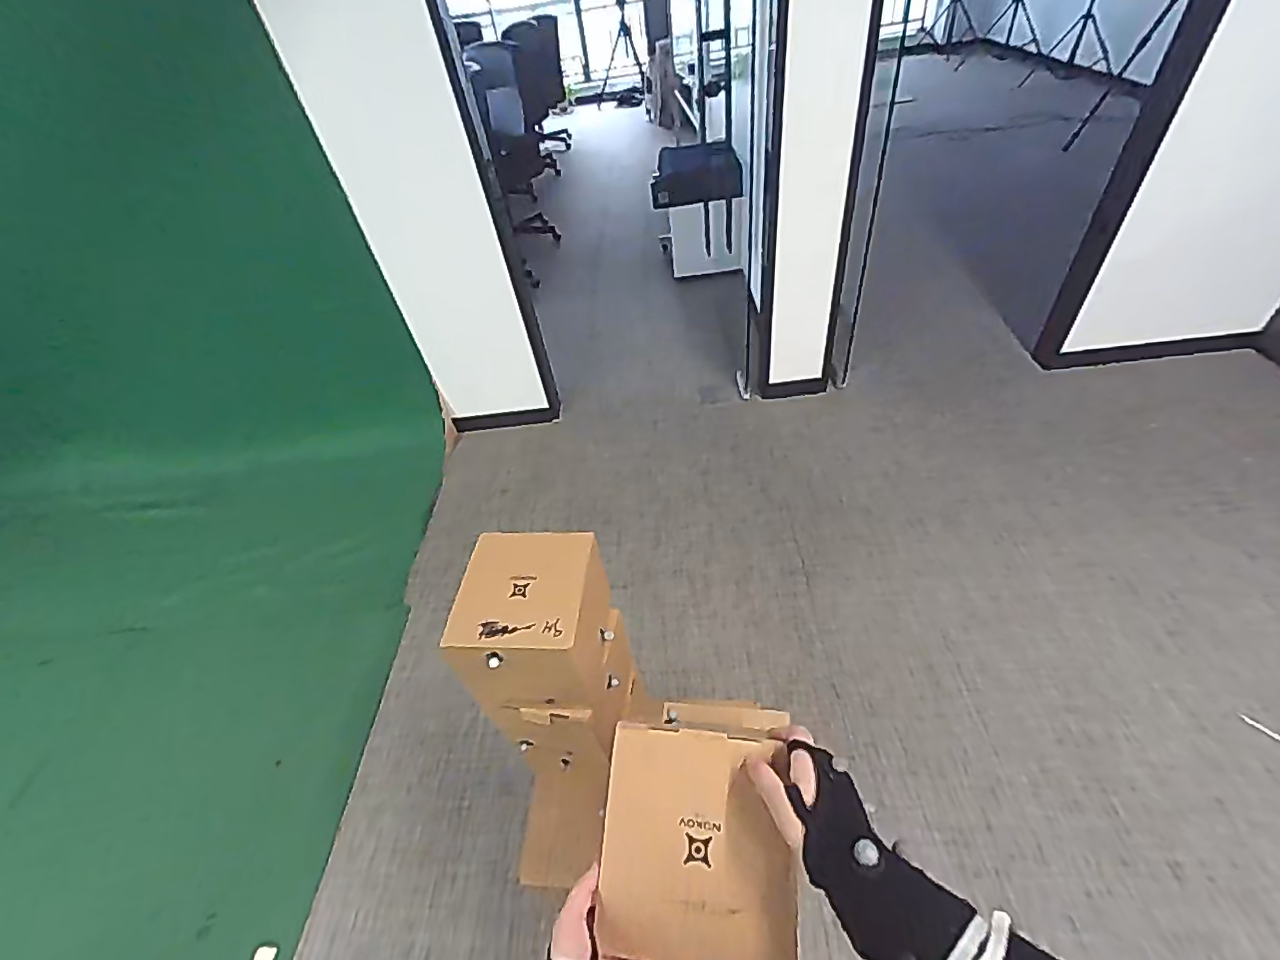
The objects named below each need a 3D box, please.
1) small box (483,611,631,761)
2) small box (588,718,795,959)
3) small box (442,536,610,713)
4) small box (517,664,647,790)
[{"bbox_3d":[-0.117,0.318,0.856,0.168,0.176,0.179,4,45,13],"label":"small box"},{"bbox_3d":[0.057,0.338,0.532,0.168,0.176,0.179,3,70,10],"label":"small box"},{"bbox_3d":[-0.141,0.197,0.747,0.168,0.176,0.179,-2,44,9],"label":"small box"},{"bbox_3d":[-0.093,0.436,0.968,0.179,0.176,0.168,3,46,11],"label":"small box"}]
